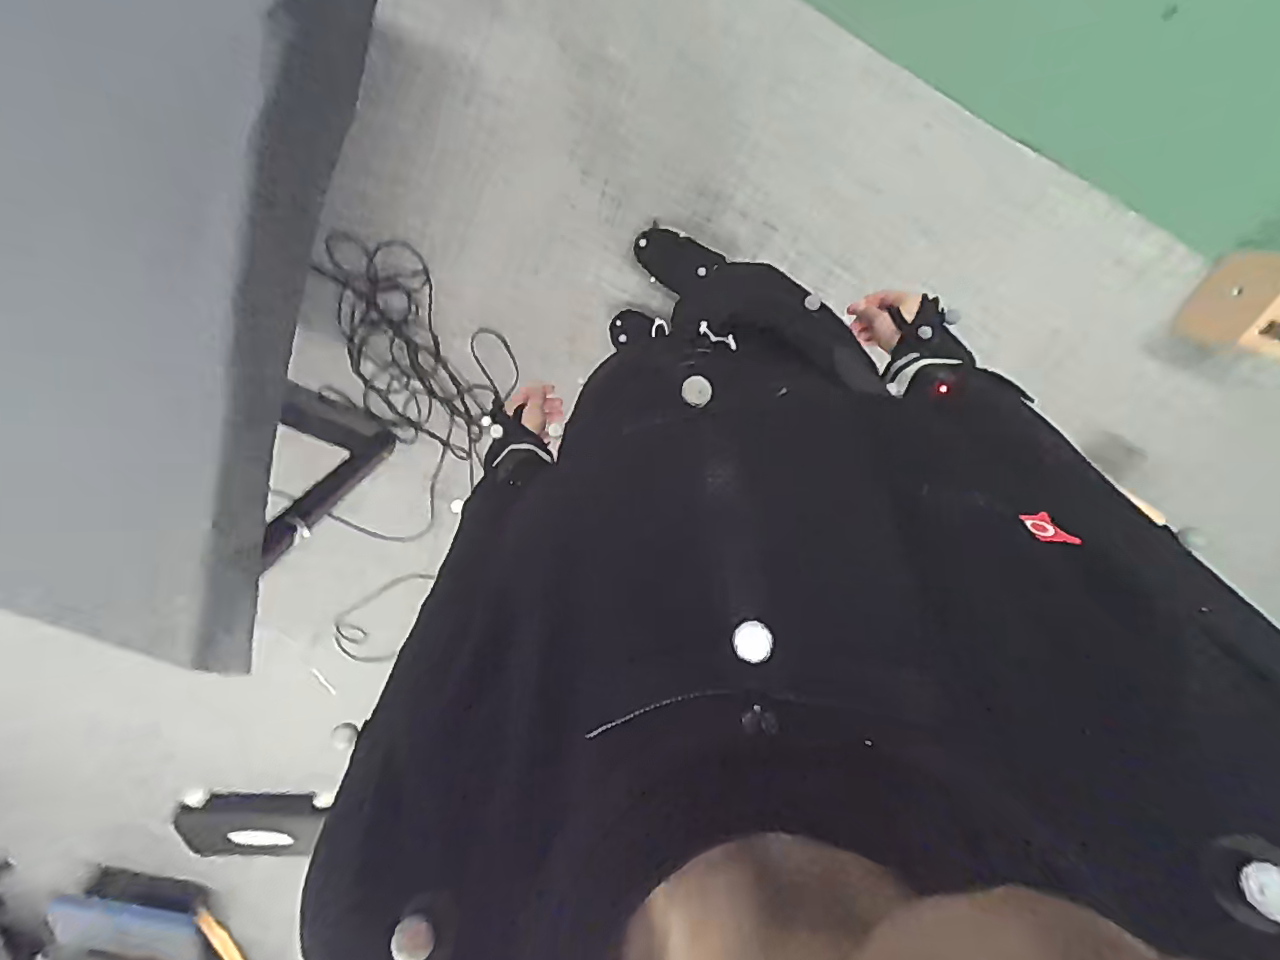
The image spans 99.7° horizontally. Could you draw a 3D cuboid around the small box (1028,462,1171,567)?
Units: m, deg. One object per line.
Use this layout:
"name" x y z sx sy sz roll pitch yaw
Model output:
"small box" 1.147 0.080 1.364 0.179 0.176 0.168 28 114 -10
